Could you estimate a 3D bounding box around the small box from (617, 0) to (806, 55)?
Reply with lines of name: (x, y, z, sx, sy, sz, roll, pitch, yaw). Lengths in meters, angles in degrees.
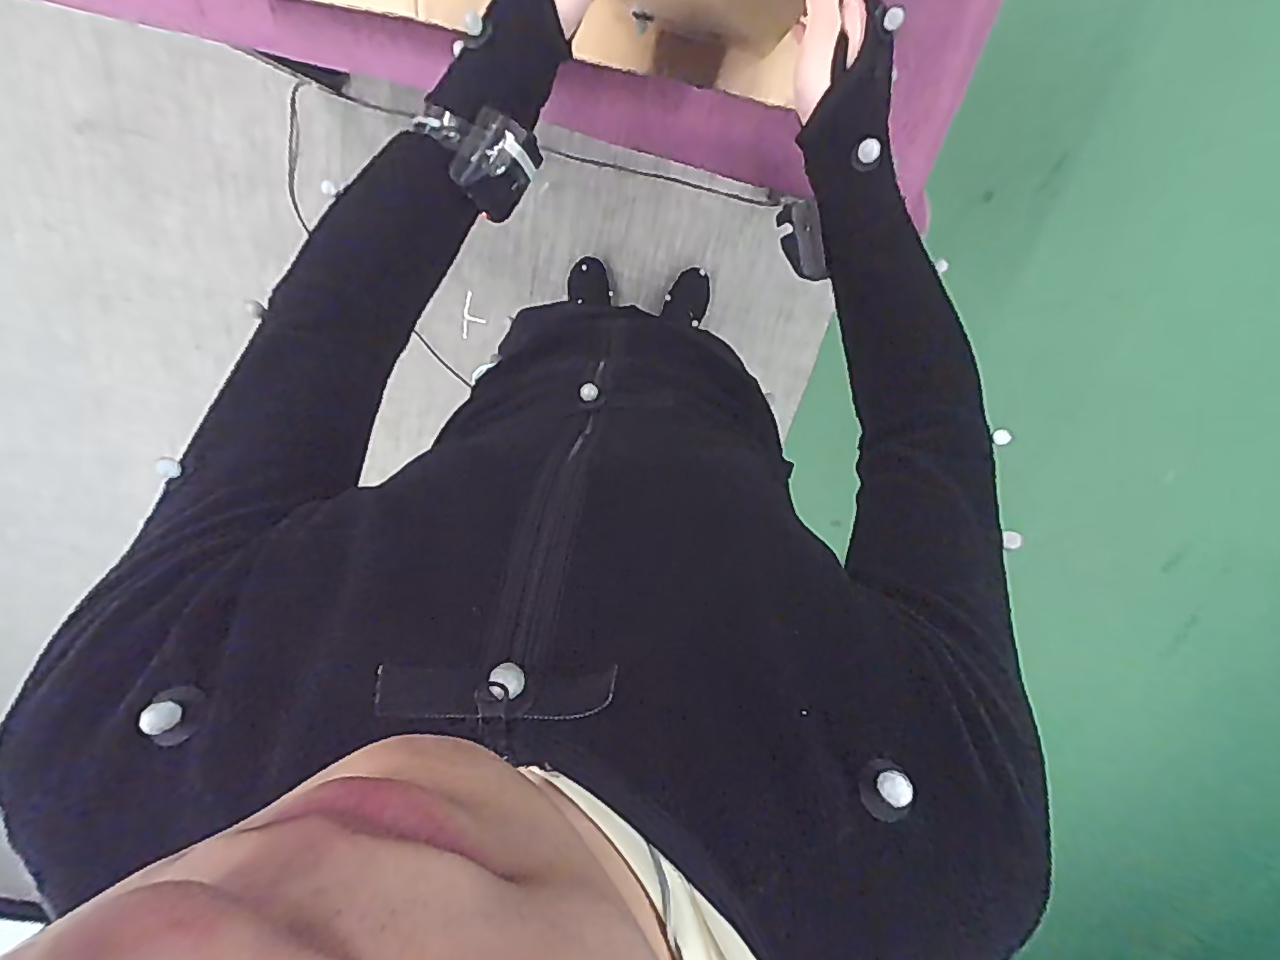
small box: (0.070, -0.480, 0.431, 0.168, 0.176, 0.179, 9, 113, -6)
